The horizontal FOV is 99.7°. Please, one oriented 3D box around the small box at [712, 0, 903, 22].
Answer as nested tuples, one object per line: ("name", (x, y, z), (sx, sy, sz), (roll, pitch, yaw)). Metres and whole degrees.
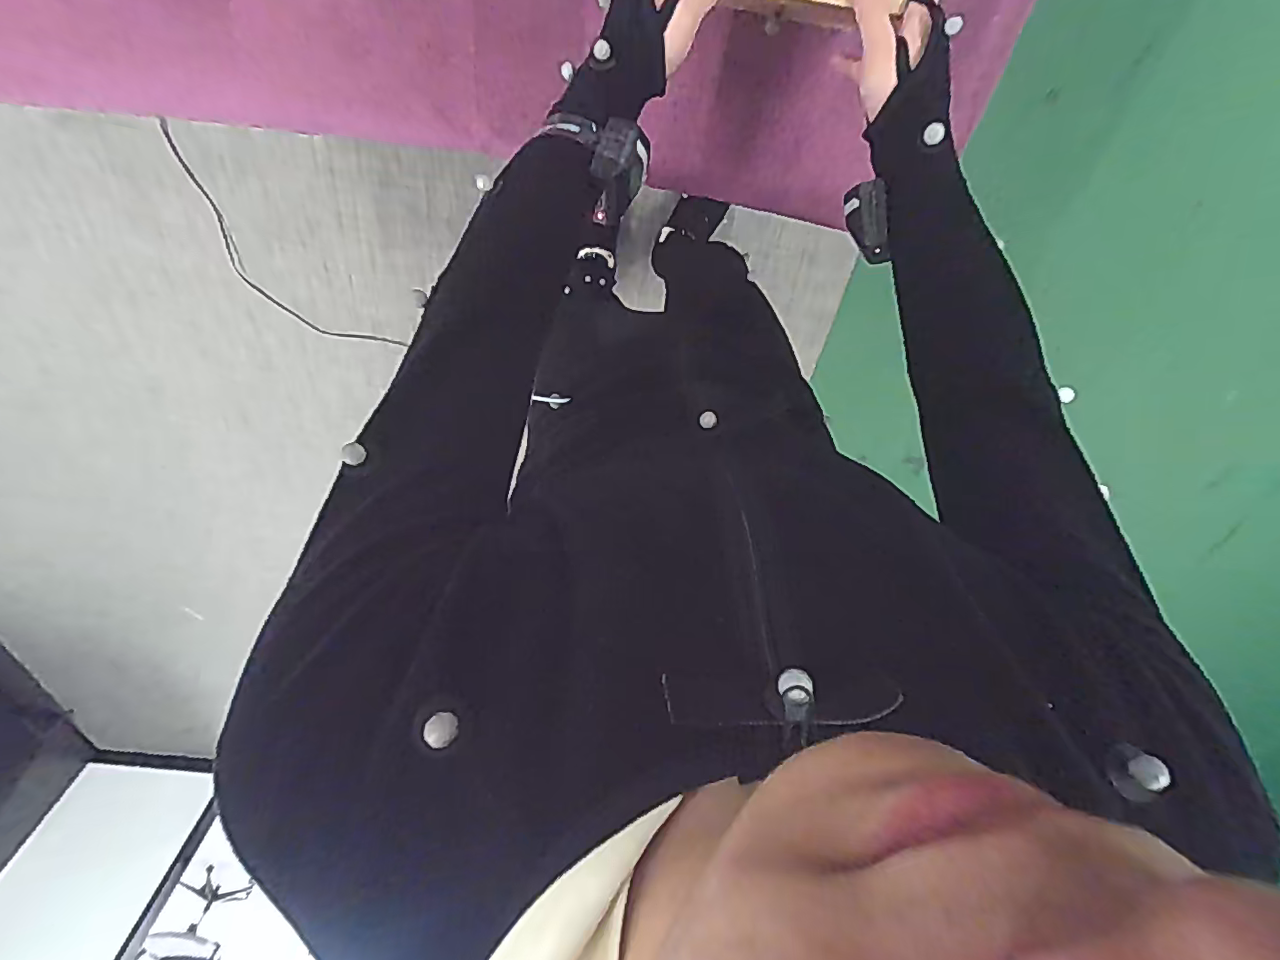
("small box", (0.141, -0.505, 0.453), (0.179, 0.176, 0.168), (8, 127, -3))
